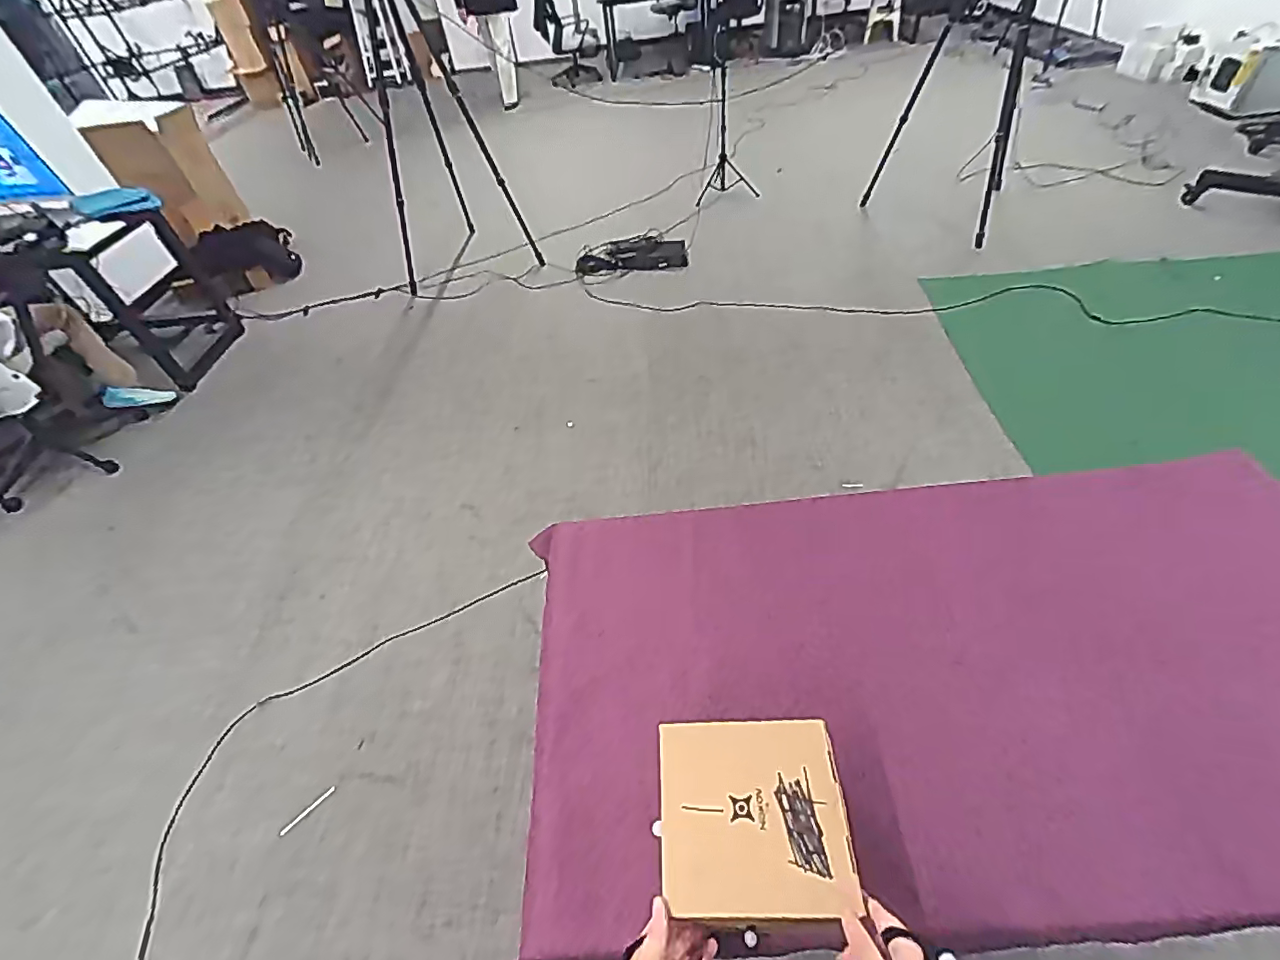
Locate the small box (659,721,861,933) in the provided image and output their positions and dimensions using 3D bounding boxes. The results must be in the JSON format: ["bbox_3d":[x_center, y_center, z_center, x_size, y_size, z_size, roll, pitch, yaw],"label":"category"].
[{"bbox_3d":[0.113,0.371,0.580,0.179,0.176,0.168,-4,47,5],"label":"small box"}]
